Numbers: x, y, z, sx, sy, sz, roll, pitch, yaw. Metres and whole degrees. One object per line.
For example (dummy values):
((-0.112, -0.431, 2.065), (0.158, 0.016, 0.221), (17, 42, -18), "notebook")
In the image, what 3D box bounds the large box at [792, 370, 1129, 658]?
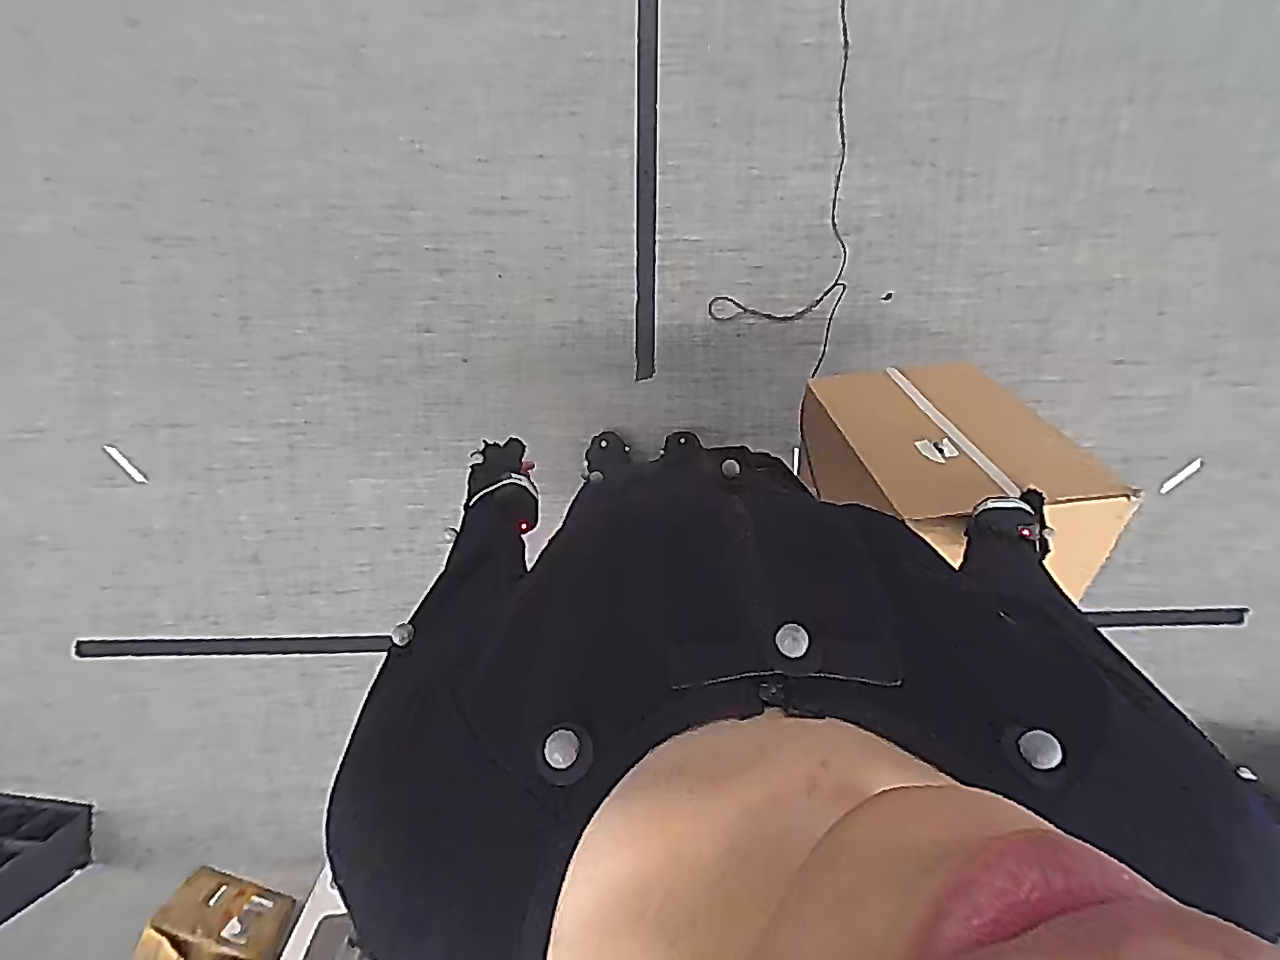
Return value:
((0.495, 0.045, 0.963), (0.320, 0.408, 0.320), (-7, 128, -1), "large box")
